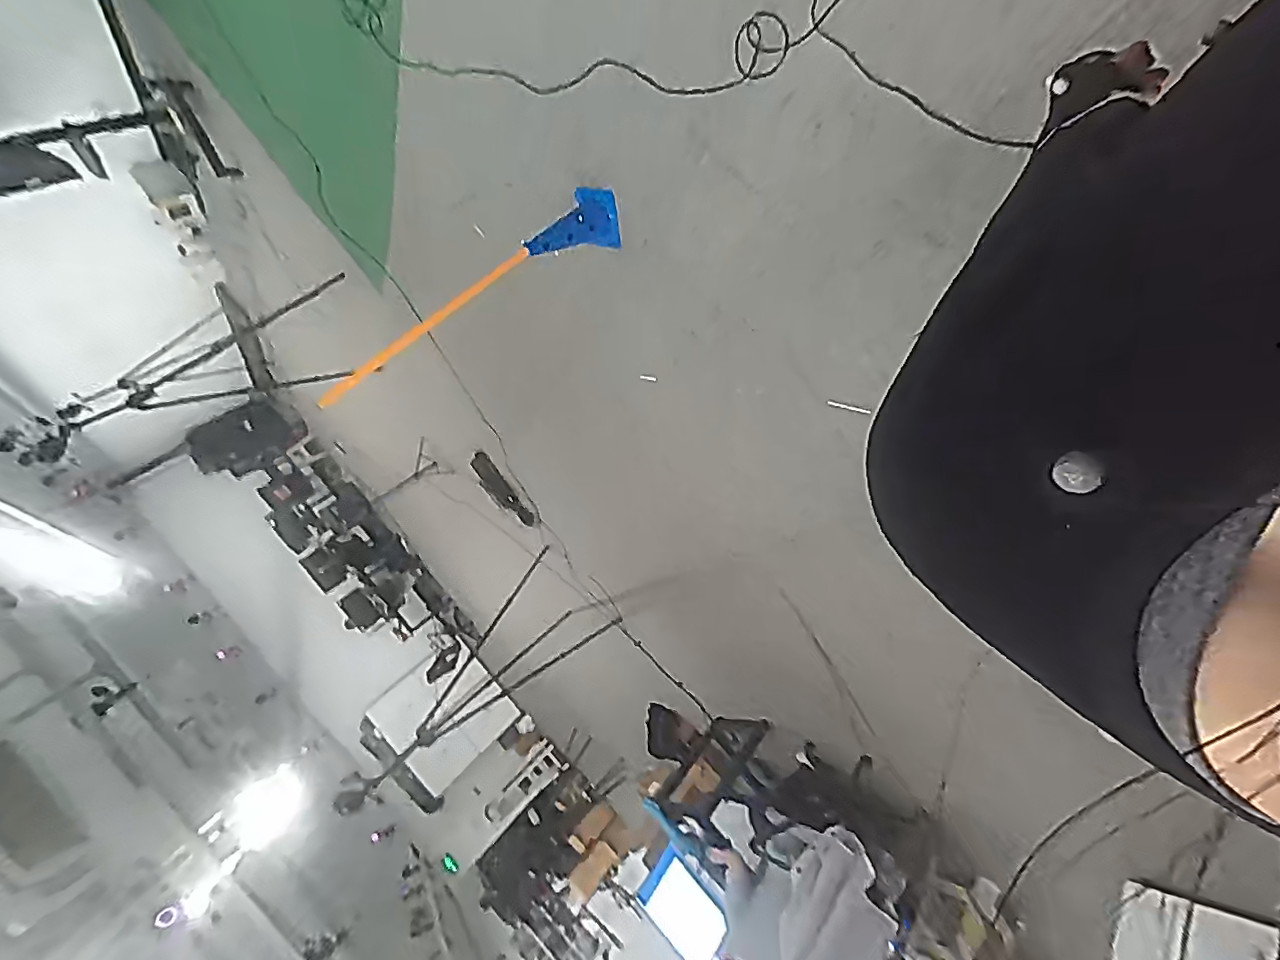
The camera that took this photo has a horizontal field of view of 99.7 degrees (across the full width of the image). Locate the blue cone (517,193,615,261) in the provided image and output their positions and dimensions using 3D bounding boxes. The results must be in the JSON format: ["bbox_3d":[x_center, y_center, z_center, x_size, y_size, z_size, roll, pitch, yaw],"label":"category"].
[{"bbox_3d":[-0.275,-0.859,1.907,0.192,0.380,0.193,24,142,34],"label":"blue cone"}]
